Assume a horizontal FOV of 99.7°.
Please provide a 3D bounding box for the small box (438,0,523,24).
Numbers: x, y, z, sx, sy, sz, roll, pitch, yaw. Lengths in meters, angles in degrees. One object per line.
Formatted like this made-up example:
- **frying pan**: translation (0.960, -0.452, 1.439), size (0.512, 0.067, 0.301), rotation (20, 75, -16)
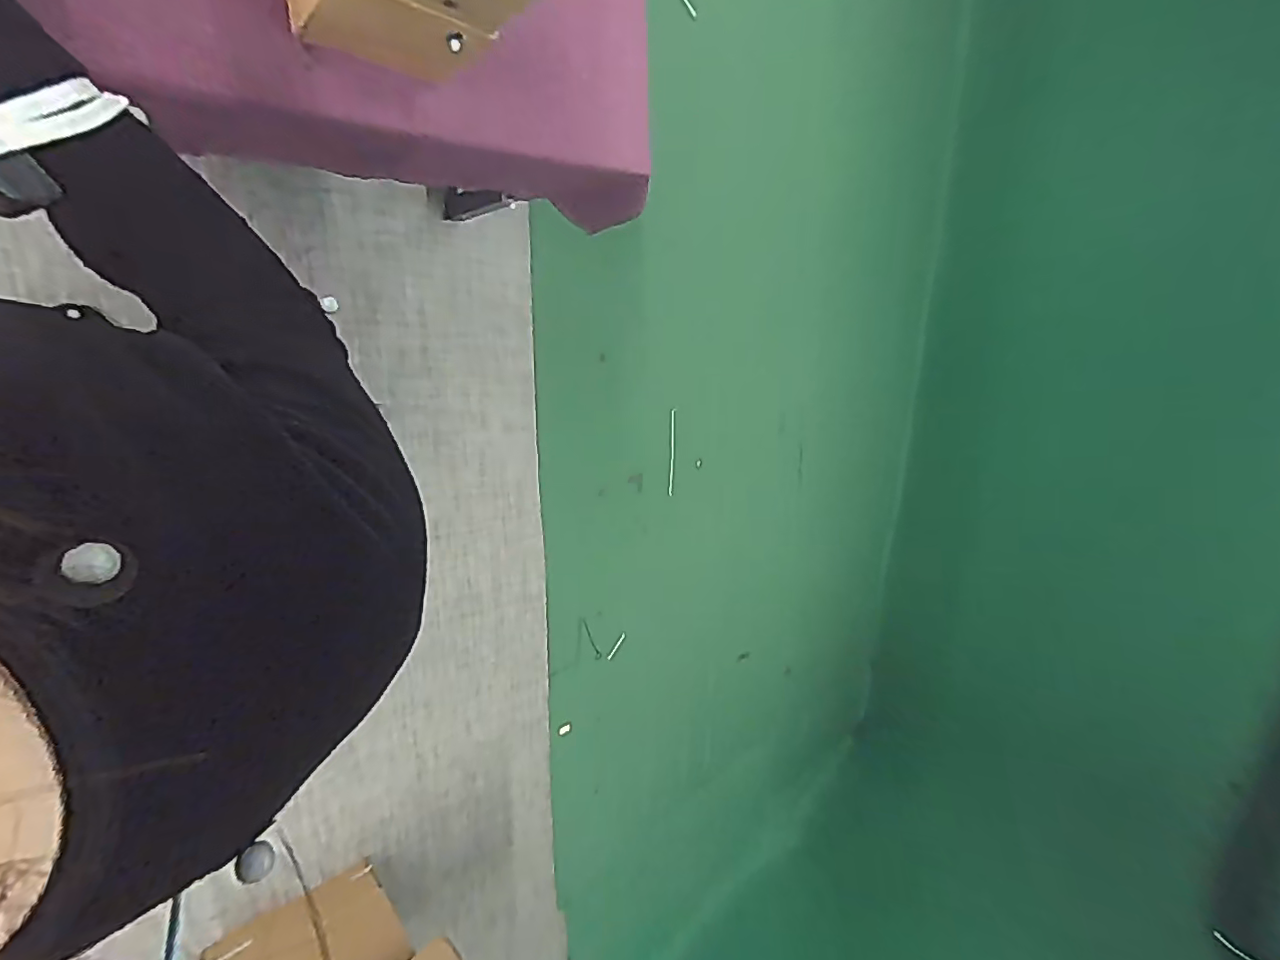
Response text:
- **small box**: translation (-0.162, -0.551, 0.469), size (0.168, 0.176, 0.179), rotation (-11, 108, -42)

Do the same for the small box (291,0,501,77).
- **small box**: translation (-0.274, -0.578, 0.587), size (0.179, 0.176, 0.168), rotation (-14, 111, -41)
